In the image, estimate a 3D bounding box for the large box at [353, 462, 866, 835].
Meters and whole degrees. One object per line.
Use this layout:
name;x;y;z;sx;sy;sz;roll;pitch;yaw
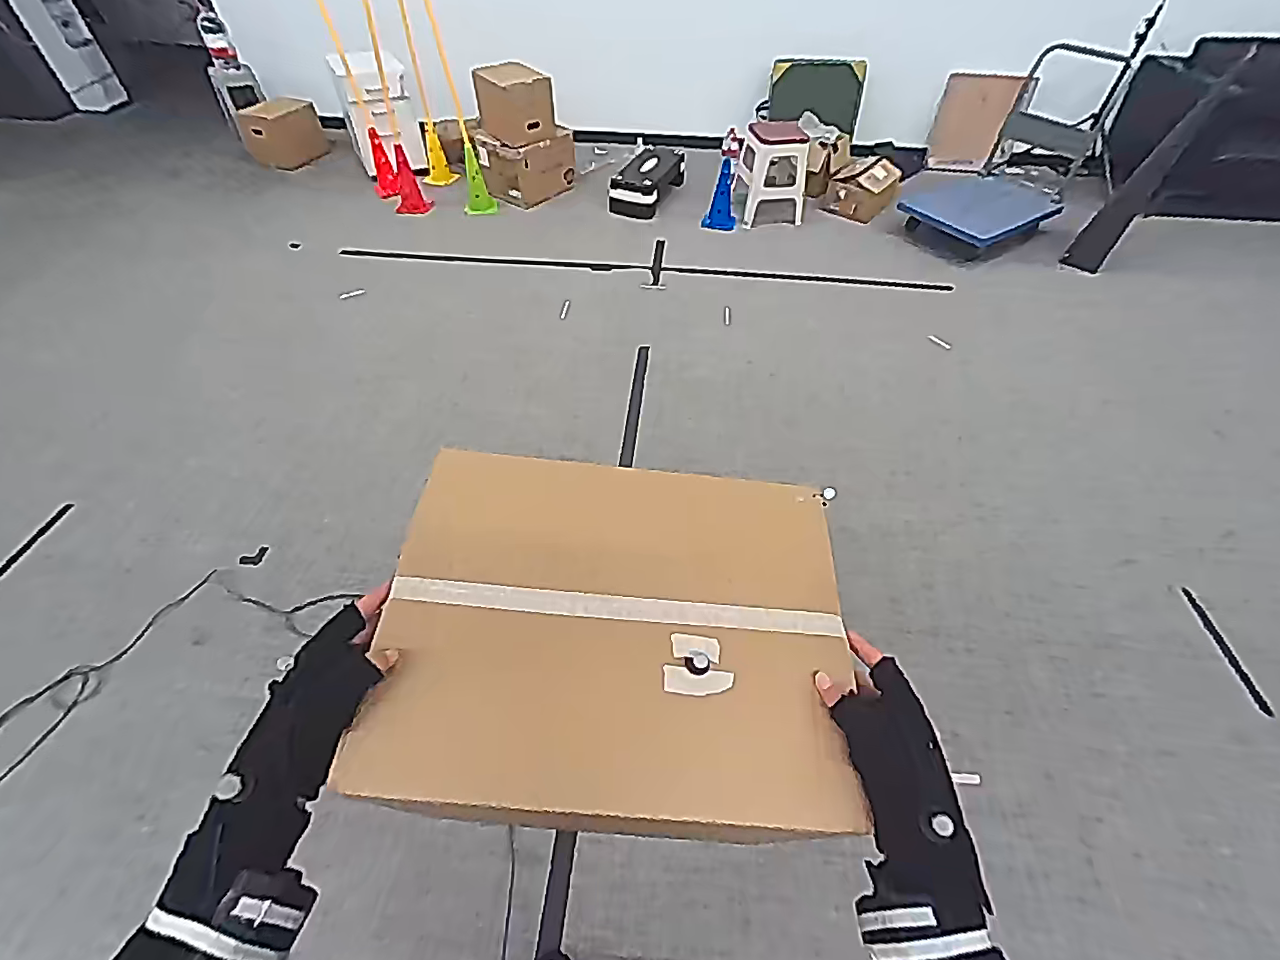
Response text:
large box;-0.028;0.207;0.617;0.408;0.320;0.320;6;55;-3
